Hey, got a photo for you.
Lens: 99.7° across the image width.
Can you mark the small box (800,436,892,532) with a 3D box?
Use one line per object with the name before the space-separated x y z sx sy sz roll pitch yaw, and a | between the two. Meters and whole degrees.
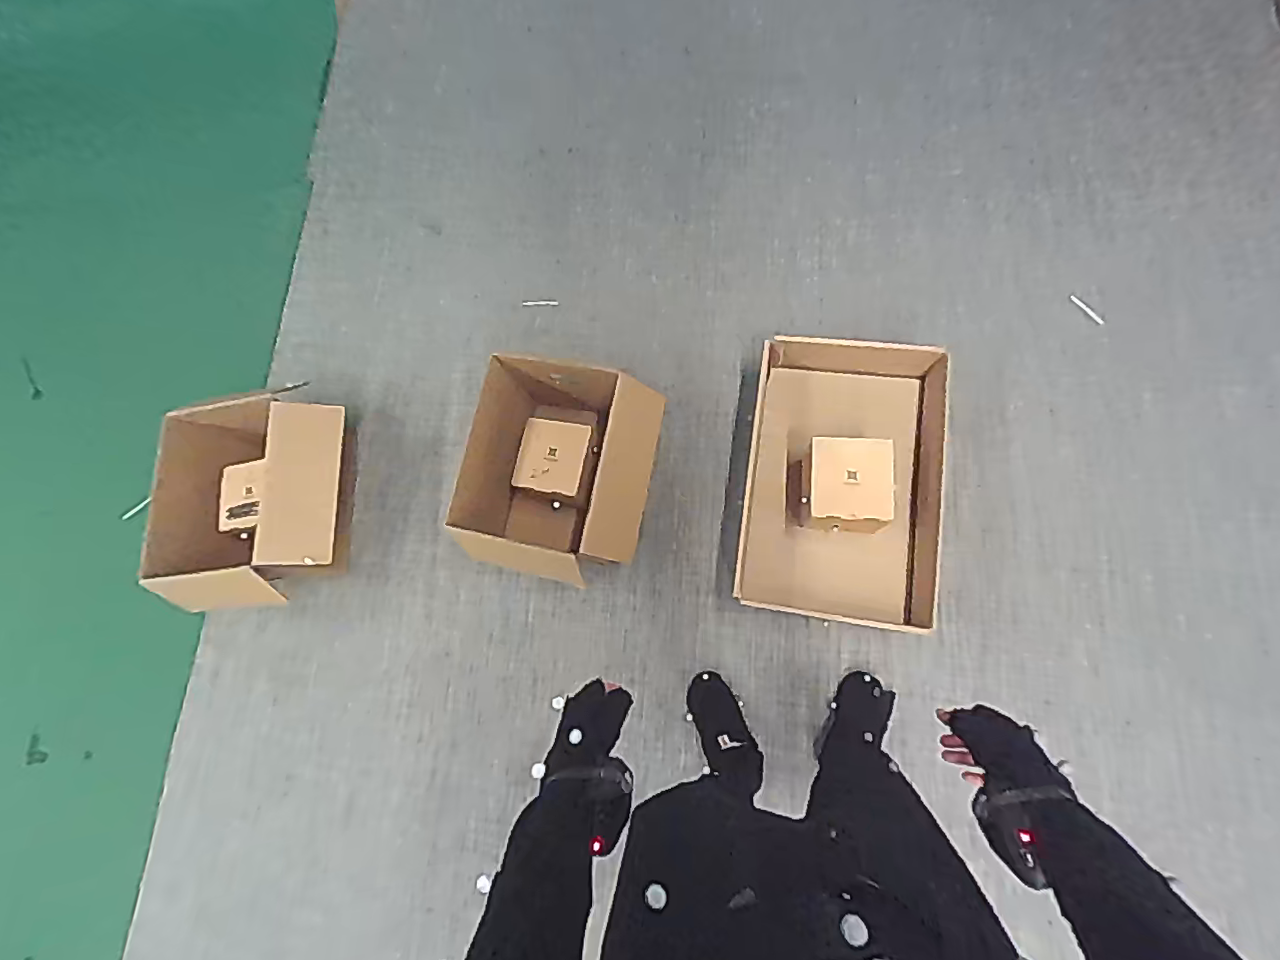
small box | 0.450 0.013 1.202 0.168 0.176 0.179 3 77 10
